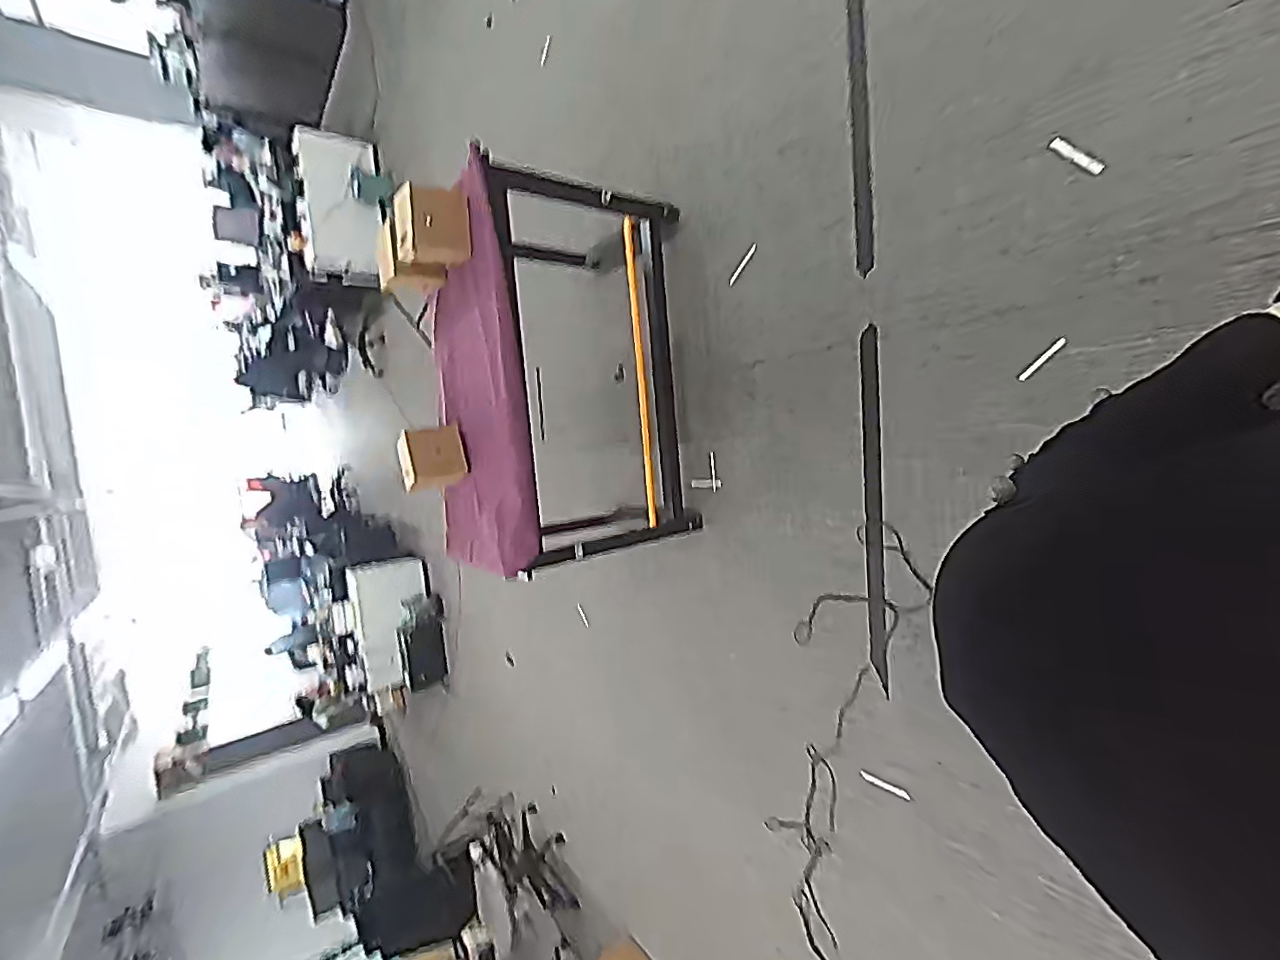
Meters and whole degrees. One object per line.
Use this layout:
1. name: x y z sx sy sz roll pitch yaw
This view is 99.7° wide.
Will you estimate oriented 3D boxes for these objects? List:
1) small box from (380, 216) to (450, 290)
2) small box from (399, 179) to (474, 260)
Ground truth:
1. small box: -0.746 -0.748 1.798 0.168 0.176 0.179 1 97 52
2. small box: -0.604 -0.765 1.611 0.168 0.176 0.179 11 105 52
